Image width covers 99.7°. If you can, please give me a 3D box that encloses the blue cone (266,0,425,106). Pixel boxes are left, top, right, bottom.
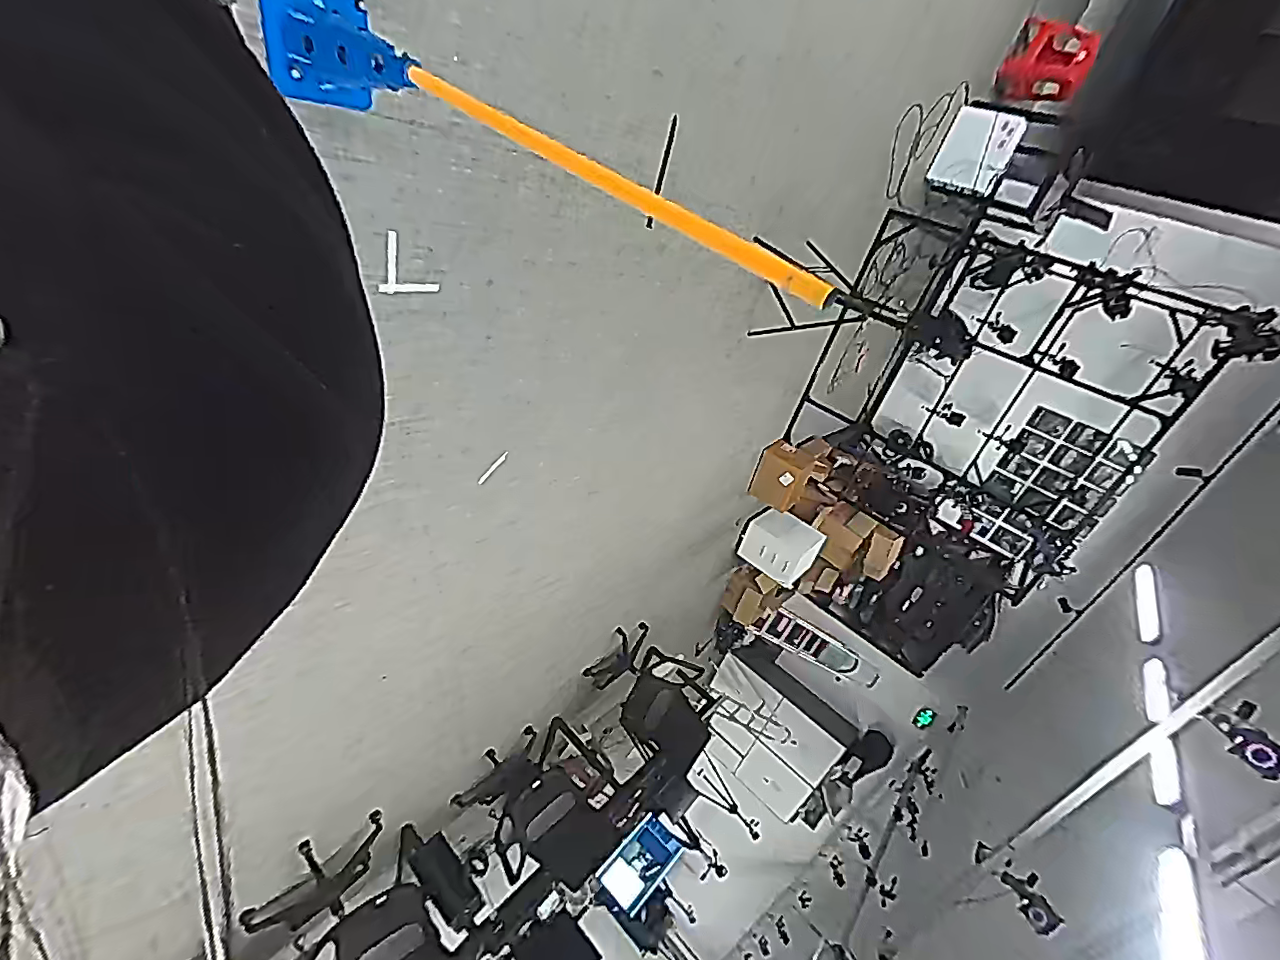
[{"bbox_3d":[-0.515,-0.790,1.006,0.193,0.380,0.192,-24,139,-45],"label":"blue cone"}]
